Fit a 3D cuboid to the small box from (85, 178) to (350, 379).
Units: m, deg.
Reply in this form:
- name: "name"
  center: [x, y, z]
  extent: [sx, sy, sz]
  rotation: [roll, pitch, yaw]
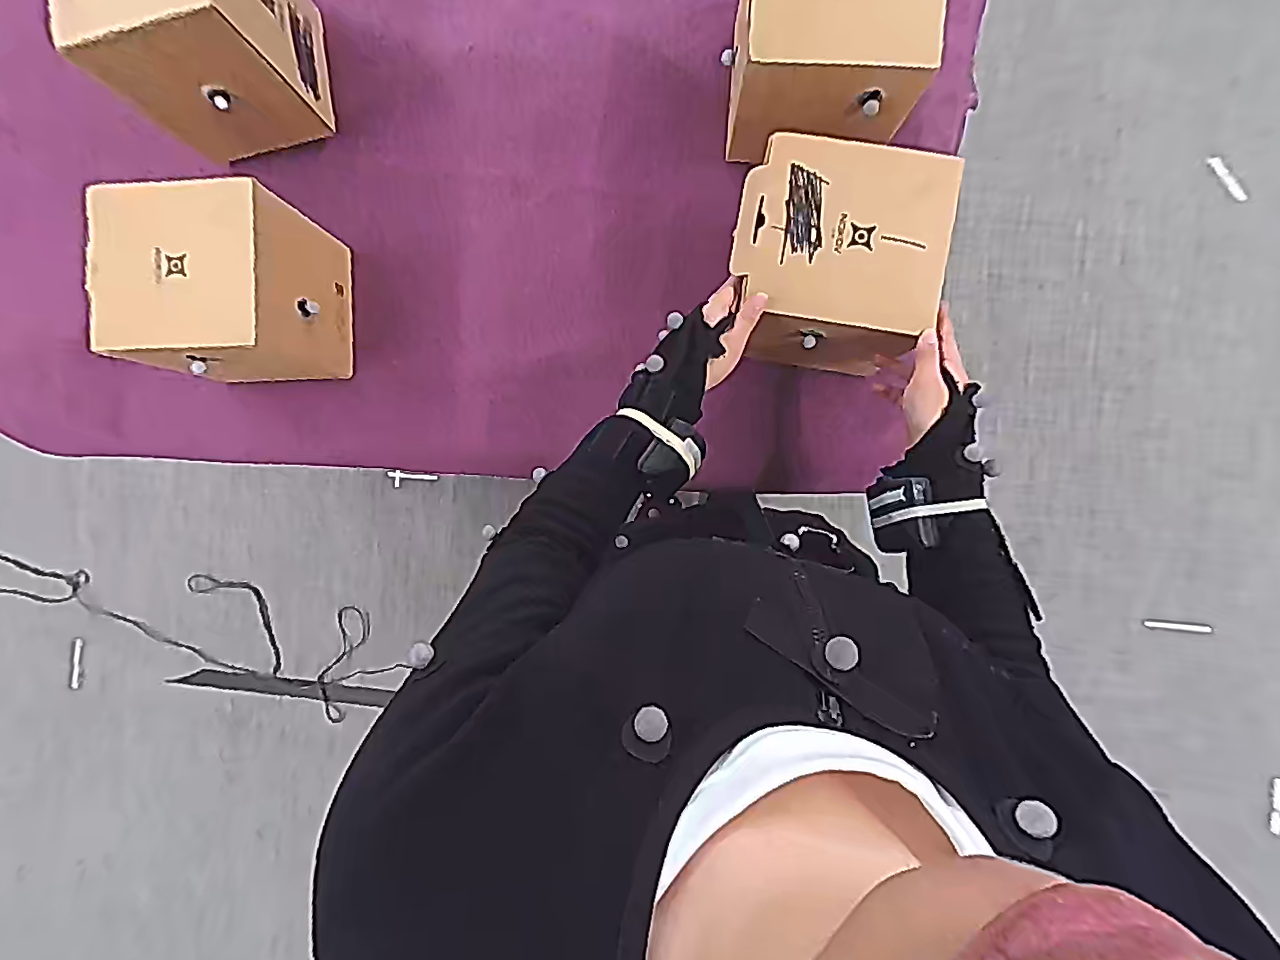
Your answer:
- name: "small box"
  center: [-0.450, -0.210, 0.605]
  extent: [0.179, 0.176, 0.168]
  rotation: [-1, 90, 4]

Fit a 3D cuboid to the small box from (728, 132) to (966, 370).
- name: "small box"
  center: [0.195, -0.221, 0.564]
  extent: [0.179, 0.176, 0.168]
  rotation: [10, 90, 3]

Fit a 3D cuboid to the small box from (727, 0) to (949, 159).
- name: "small box"
  center: [0.192, -0.456, 0.560]
  extent: [0.179, 0.176, 0.168]
  rotation: [4, 92, 3]
